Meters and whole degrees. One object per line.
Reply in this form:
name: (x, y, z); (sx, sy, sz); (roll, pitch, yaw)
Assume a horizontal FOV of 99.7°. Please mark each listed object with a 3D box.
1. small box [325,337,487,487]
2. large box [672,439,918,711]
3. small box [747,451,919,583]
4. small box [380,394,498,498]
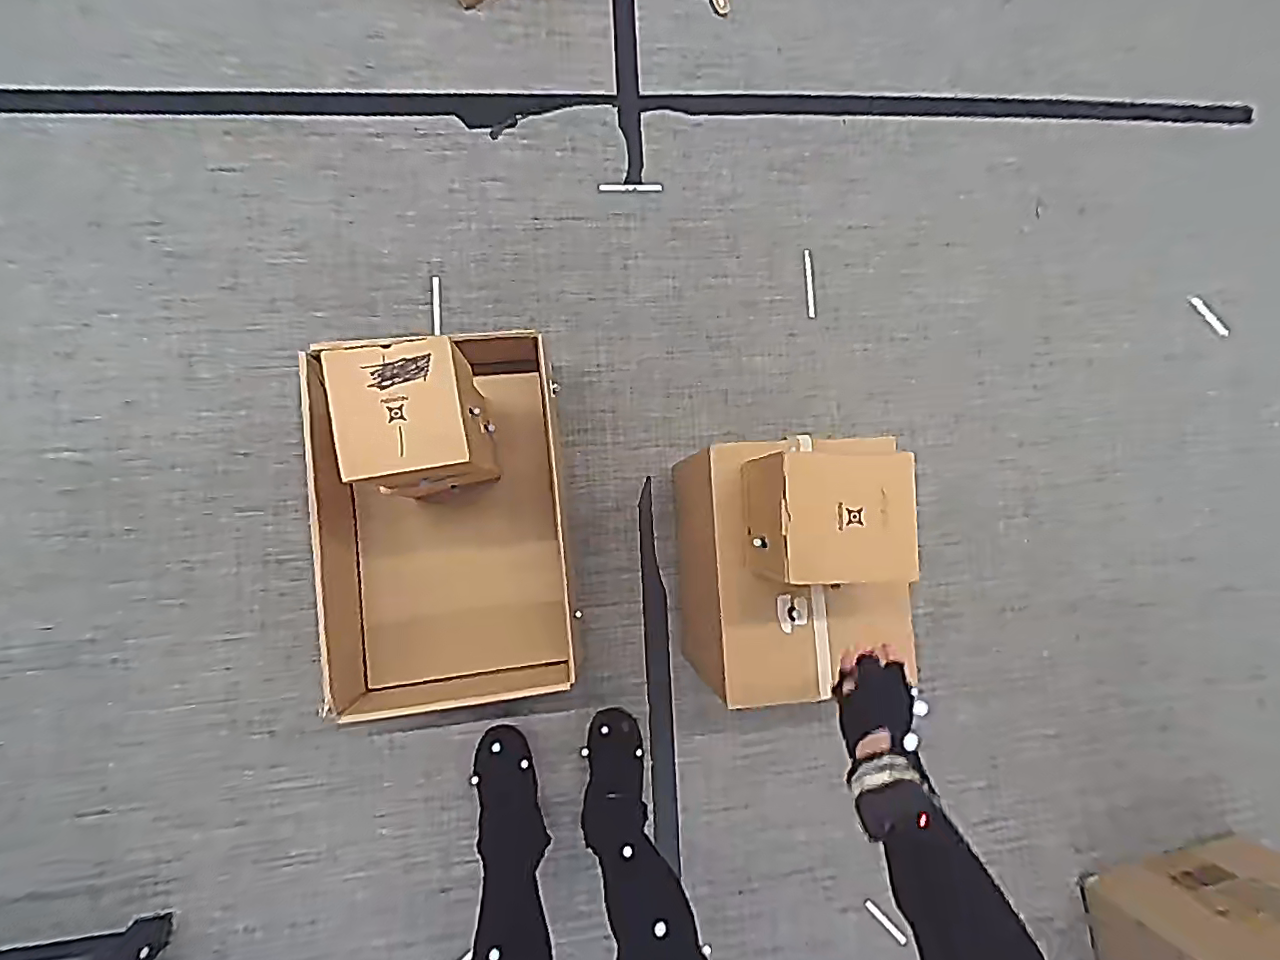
small box: (-0.329, -0.090, 0.792); (0.168, 0.176, 0.179); (-10, 88, -7)
large box: (0.251, 0.149, 0.987); (0.320, 0.320, 0.408); (-3, 87, -7)
small box: (0.252, 0.051, 0.748); (0.179, 0.176, 0.168); (0, 87, -8)
small box: (-0.356, -0.067, 0.954); (0.179, 0.176, 0.168); (-14, 88, -8)
